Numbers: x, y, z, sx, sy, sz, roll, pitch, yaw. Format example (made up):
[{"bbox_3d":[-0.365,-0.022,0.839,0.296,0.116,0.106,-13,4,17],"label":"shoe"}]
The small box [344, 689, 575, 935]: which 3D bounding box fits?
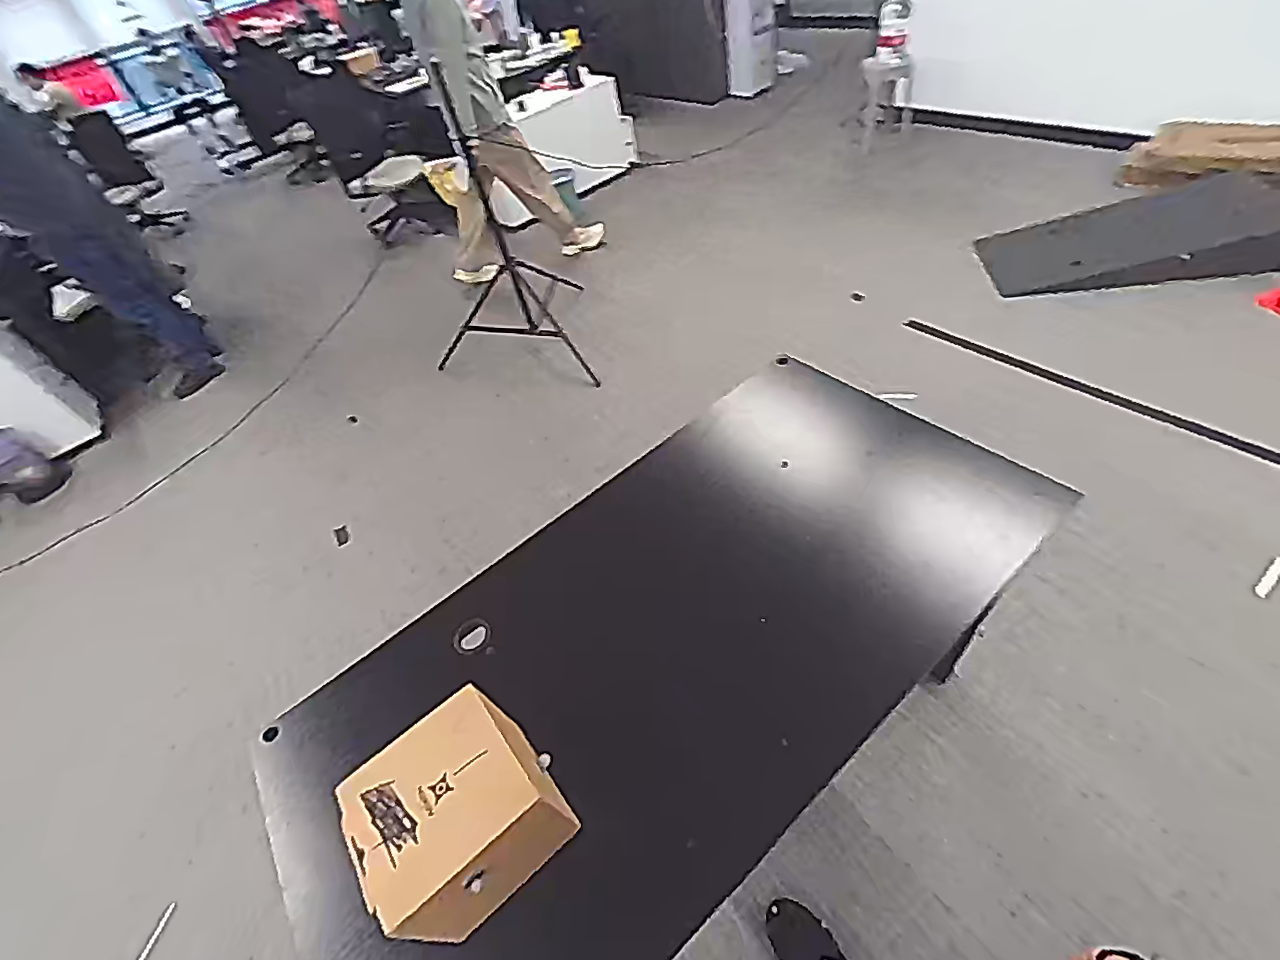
[{"bbox_3d":[-0.203,0.395,0.642,0.179,0.176,0.168,-36,51,-19],"label":"small box"}]
